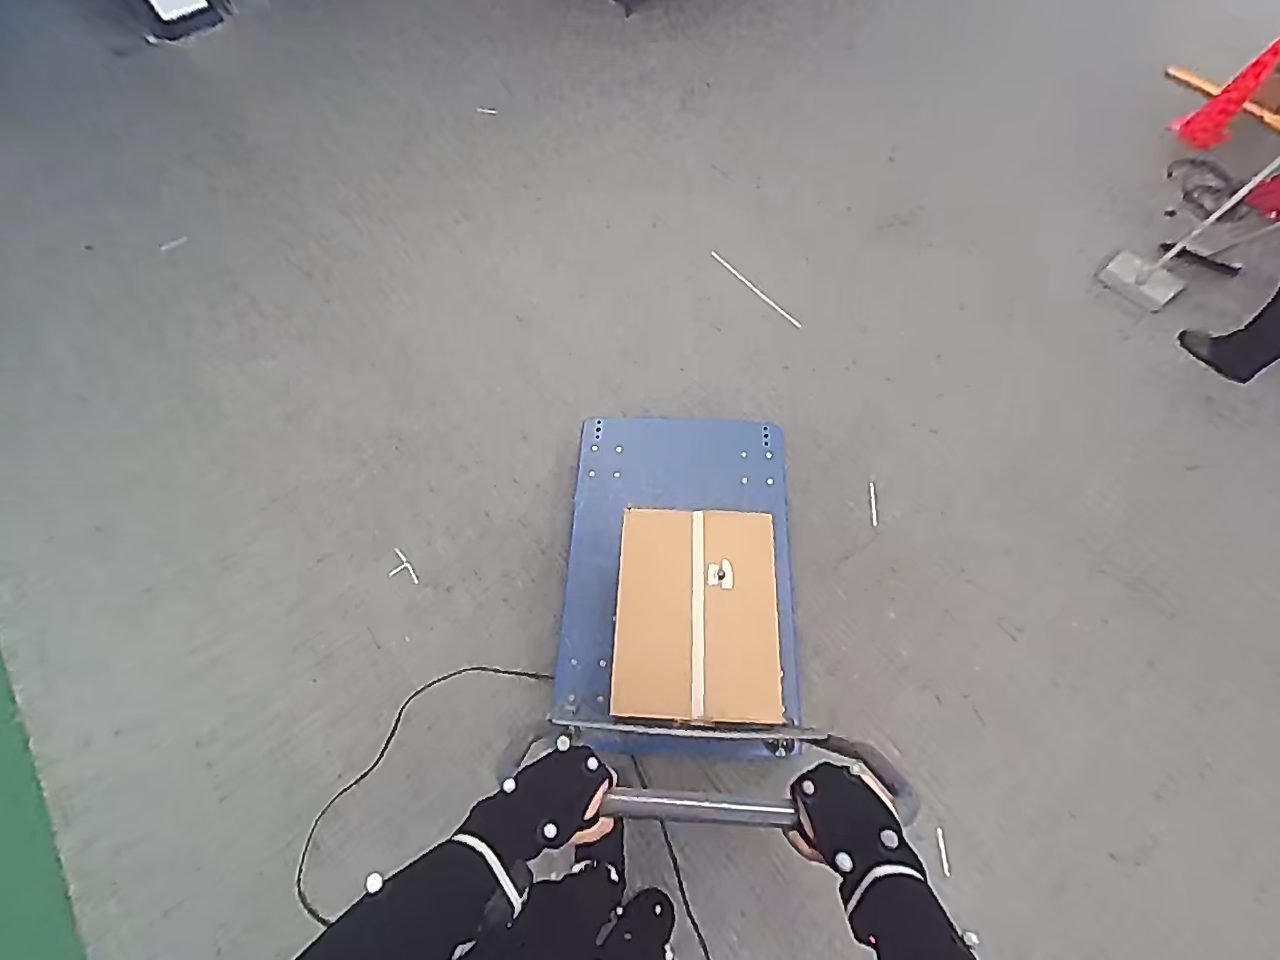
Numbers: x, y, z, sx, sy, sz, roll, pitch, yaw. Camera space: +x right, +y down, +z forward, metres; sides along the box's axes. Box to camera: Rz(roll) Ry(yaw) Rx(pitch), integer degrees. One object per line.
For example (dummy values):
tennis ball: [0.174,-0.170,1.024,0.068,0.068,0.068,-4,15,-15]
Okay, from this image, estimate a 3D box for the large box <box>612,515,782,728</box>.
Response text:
large box: [0.111,0.321,1.188,0.320,0.320,0.408,3,64,1]
